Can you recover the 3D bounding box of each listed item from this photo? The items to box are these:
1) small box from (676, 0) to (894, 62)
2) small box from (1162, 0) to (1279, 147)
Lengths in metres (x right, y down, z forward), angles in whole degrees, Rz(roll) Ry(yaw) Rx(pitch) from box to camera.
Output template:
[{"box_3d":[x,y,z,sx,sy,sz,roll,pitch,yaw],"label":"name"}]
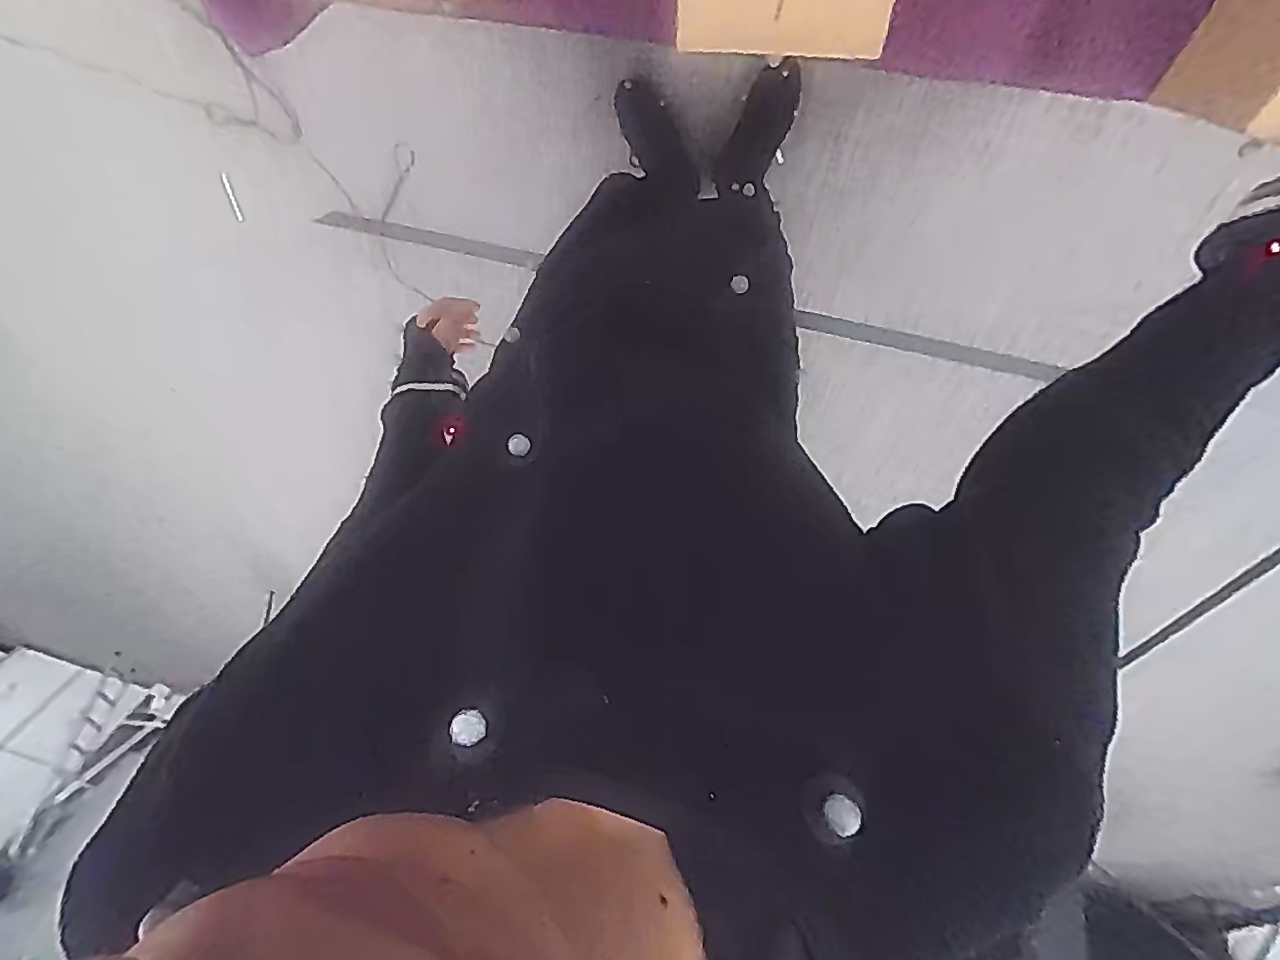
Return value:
[{"box_3d":[0.130,-0.459,0.435,0.168,0.176,0.179,11,135,10],"label":"small box"},{"box_3d":[0.553,-0.341,0.391,0.168,0.176,0.179,19,134,3],"label":"small box"}]
